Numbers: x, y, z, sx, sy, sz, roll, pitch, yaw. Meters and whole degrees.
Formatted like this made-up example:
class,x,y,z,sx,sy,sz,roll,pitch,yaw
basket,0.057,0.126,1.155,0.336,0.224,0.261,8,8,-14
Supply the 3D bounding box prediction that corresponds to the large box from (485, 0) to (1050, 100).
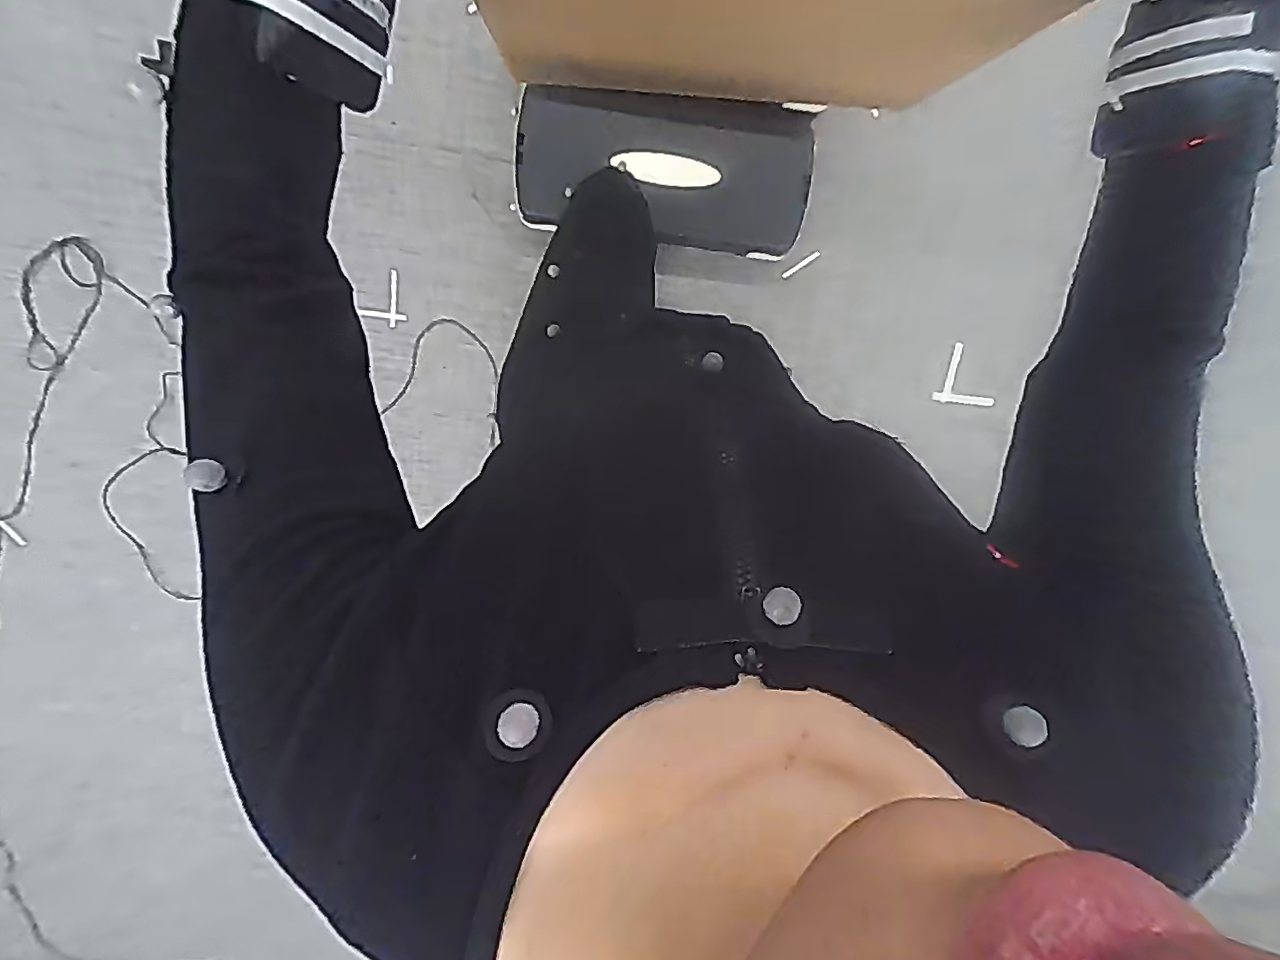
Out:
class,x,y,z,sx,sy,sz,roll,pitch,yaw
large box,0.086,-0.486,0.358,0.408,0.320,0.320,1,110,-4
